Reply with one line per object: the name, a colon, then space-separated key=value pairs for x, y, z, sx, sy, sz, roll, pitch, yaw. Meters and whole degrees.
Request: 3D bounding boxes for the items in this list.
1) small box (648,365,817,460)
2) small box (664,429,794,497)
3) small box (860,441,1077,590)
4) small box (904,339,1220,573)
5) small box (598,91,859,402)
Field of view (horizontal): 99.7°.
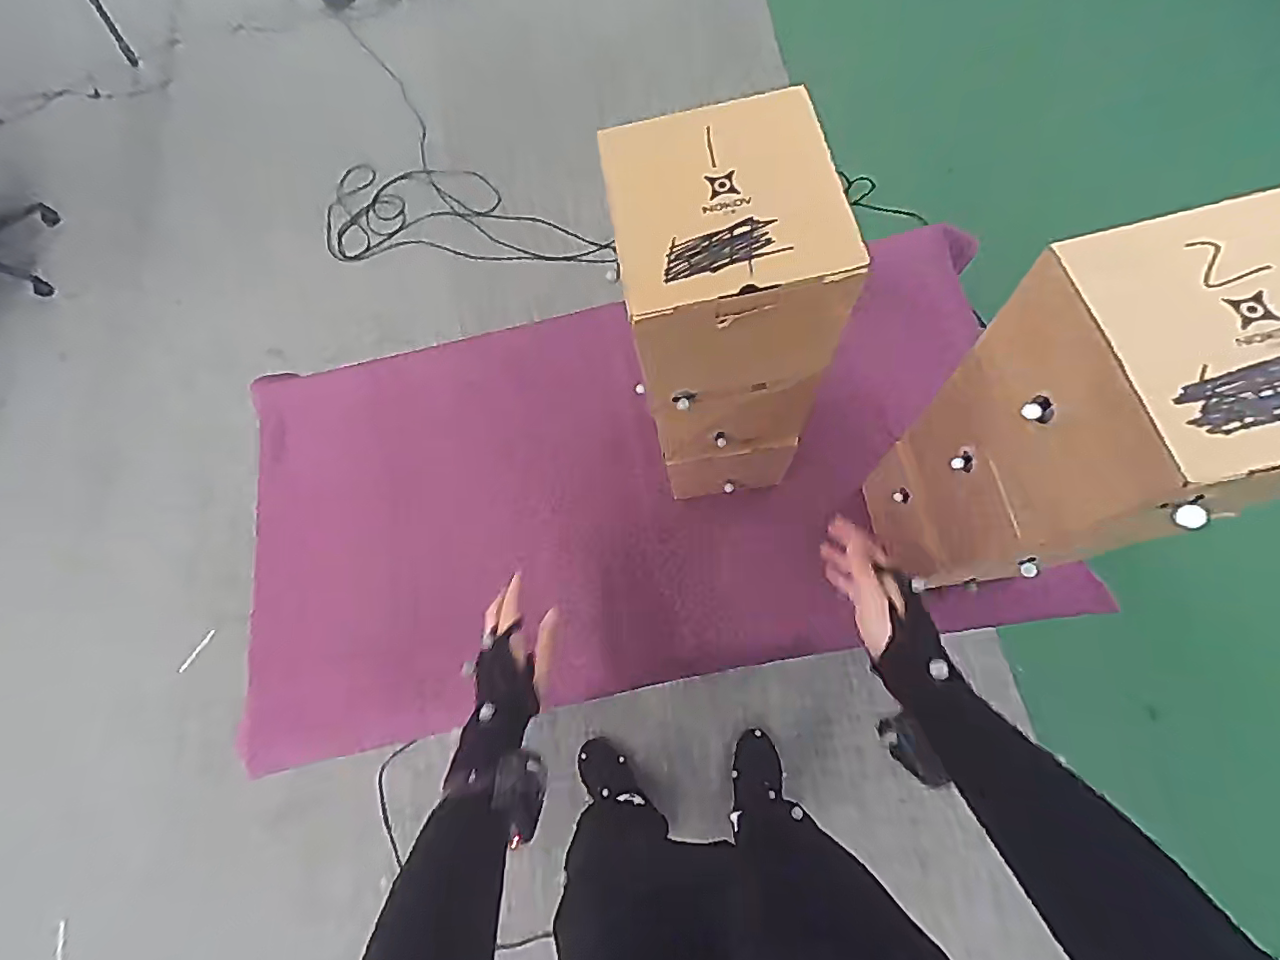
small box: x=0.087 y=-0.142 z=0.630 sx=0.168 sy=0.176 sz=0.179 roll=-11 pitch=72 yaw=3
small box: x=0.112 y=-0.089 z=0.781 sx=0.168 sy=0.176 sz=0.179 roll=-8 pitch=72 yaw=4
small box: x=0.412 y=0.044 z=0.704 sx=0.179 sy=0.176 sz=0.168 roll=-9 pitch=70 yaw=5
small box: x=0.395 y=-0.013 z=0.550 sx=0.168 sy=0.176 sz=0.179 roll=-9 pitch=71 yaw=5
small box: x=0.067 y=-0.182 z=0.471 sx=0.168 sy=0.176 sz=0.179 roll=-10 pitch=71 yaw=3
